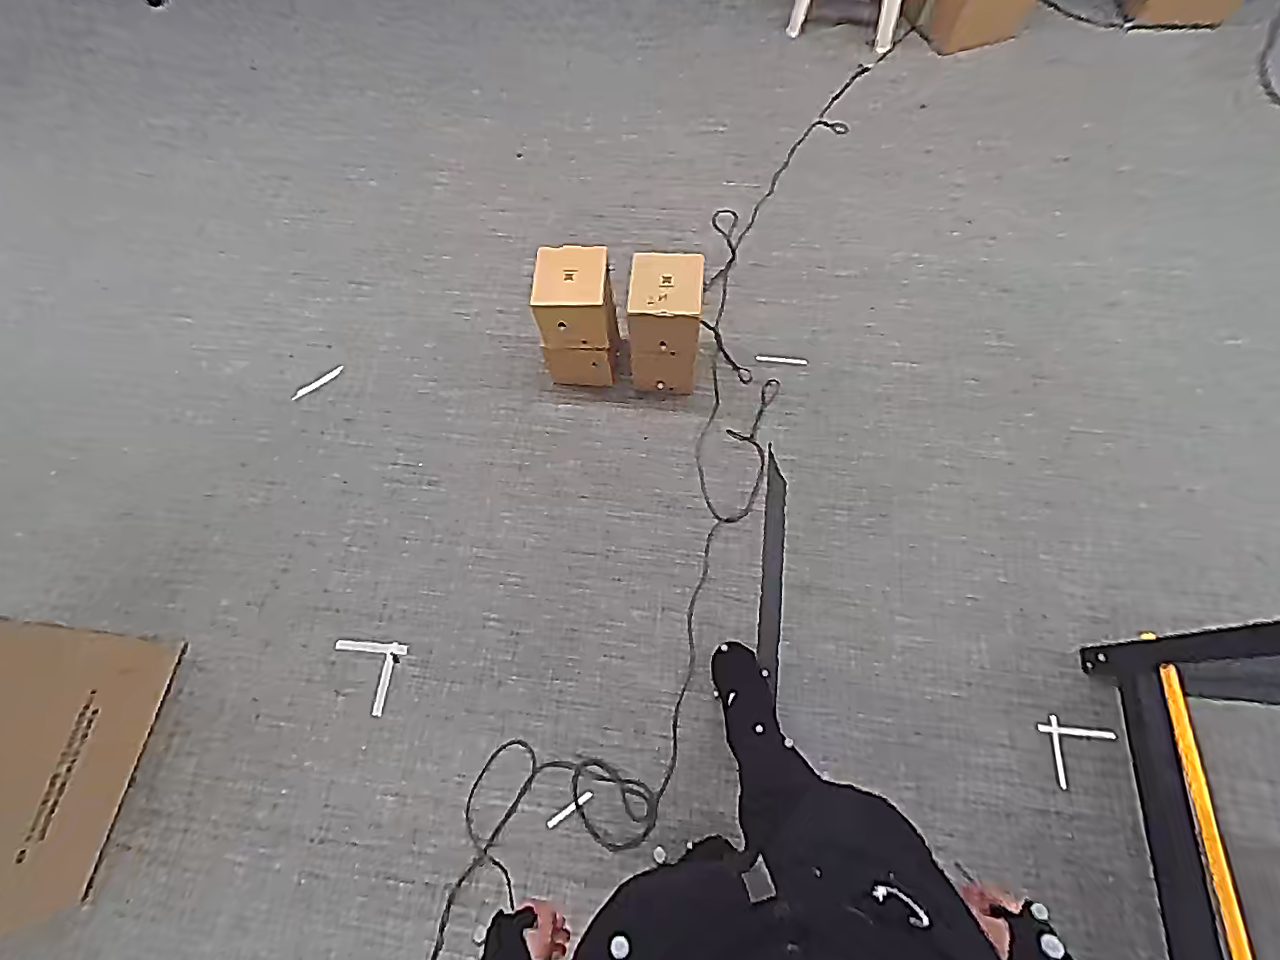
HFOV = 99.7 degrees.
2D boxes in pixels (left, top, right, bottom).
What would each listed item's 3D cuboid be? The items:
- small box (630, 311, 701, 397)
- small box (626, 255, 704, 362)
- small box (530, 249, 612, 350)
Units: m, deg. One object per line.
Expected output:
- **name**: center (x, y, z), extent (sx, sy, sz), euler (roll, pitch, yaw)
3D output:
- **small box**: center (0.068, -0.345, 1.447), extent (0.168, 0.176, 0.179), euler (6, 69, 5)
- **small box**: center (0.061, -0.407, 1.294), extent (0.168, 0.176, 0.179), euler (4, 69, 5)
- **small box**: center (-0.159, -0.433, 1.319), extent (0.168, 0.176, 0.179), euler (1, 67, 3)
